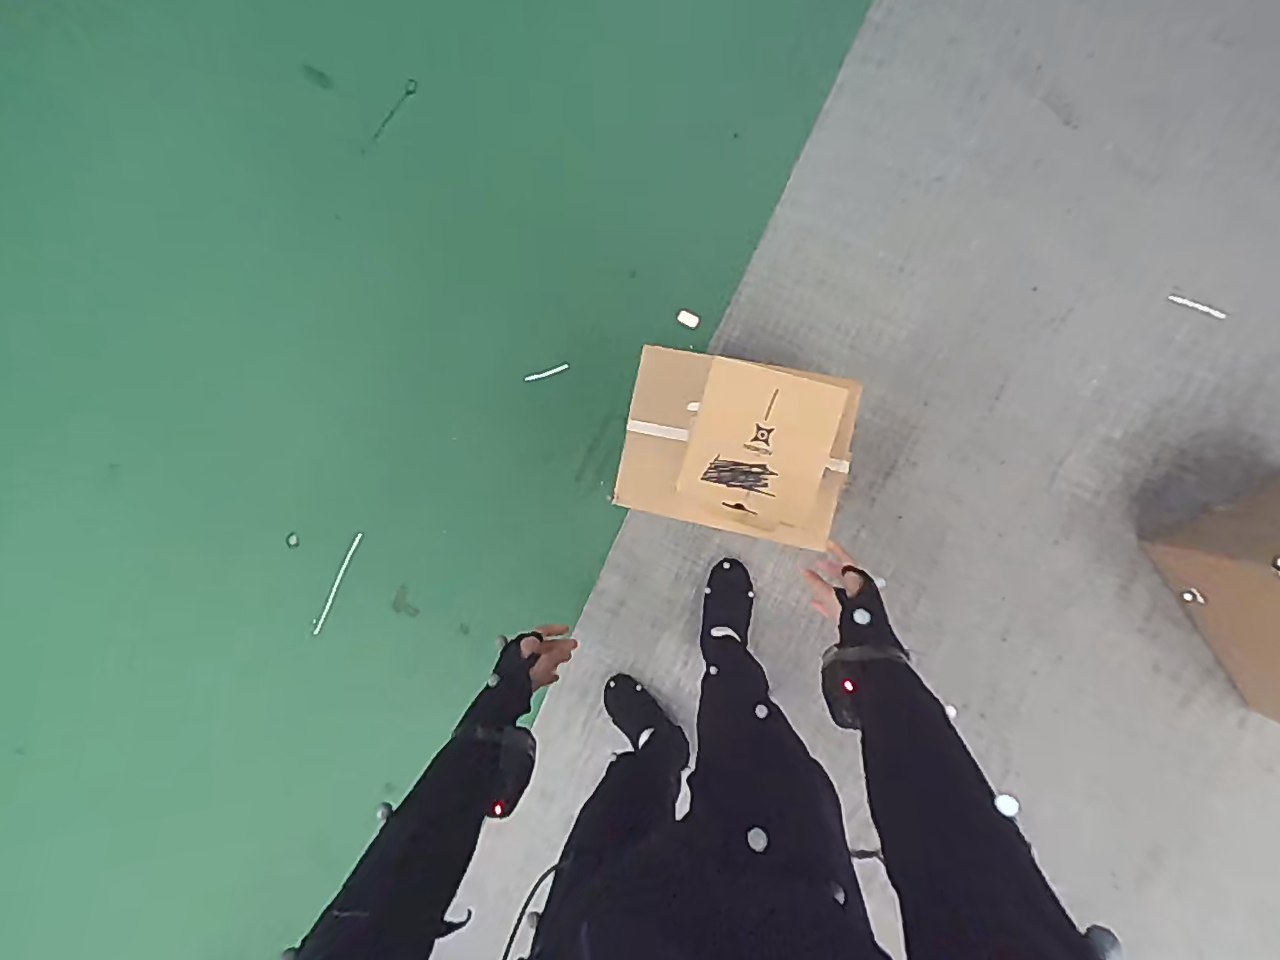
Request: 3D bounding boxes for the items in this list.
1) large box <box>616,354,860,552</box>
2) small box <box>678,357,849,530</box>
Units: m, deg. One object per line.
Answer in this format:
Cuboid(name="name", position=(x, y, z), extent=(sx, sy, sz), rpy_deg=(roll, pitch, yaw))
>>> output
Cuboid(name="large box", position=(0.204, -0.056, 1.135), extent=(0.408, 0.320, 0.320), rpy_deg=(12, 92, 12))
Cuboid(name="small box", position=(0.162, -0.047, 0.727), extent=(0.168, 0.176, 0.179), rpy_deg=(17, 95, 11))
